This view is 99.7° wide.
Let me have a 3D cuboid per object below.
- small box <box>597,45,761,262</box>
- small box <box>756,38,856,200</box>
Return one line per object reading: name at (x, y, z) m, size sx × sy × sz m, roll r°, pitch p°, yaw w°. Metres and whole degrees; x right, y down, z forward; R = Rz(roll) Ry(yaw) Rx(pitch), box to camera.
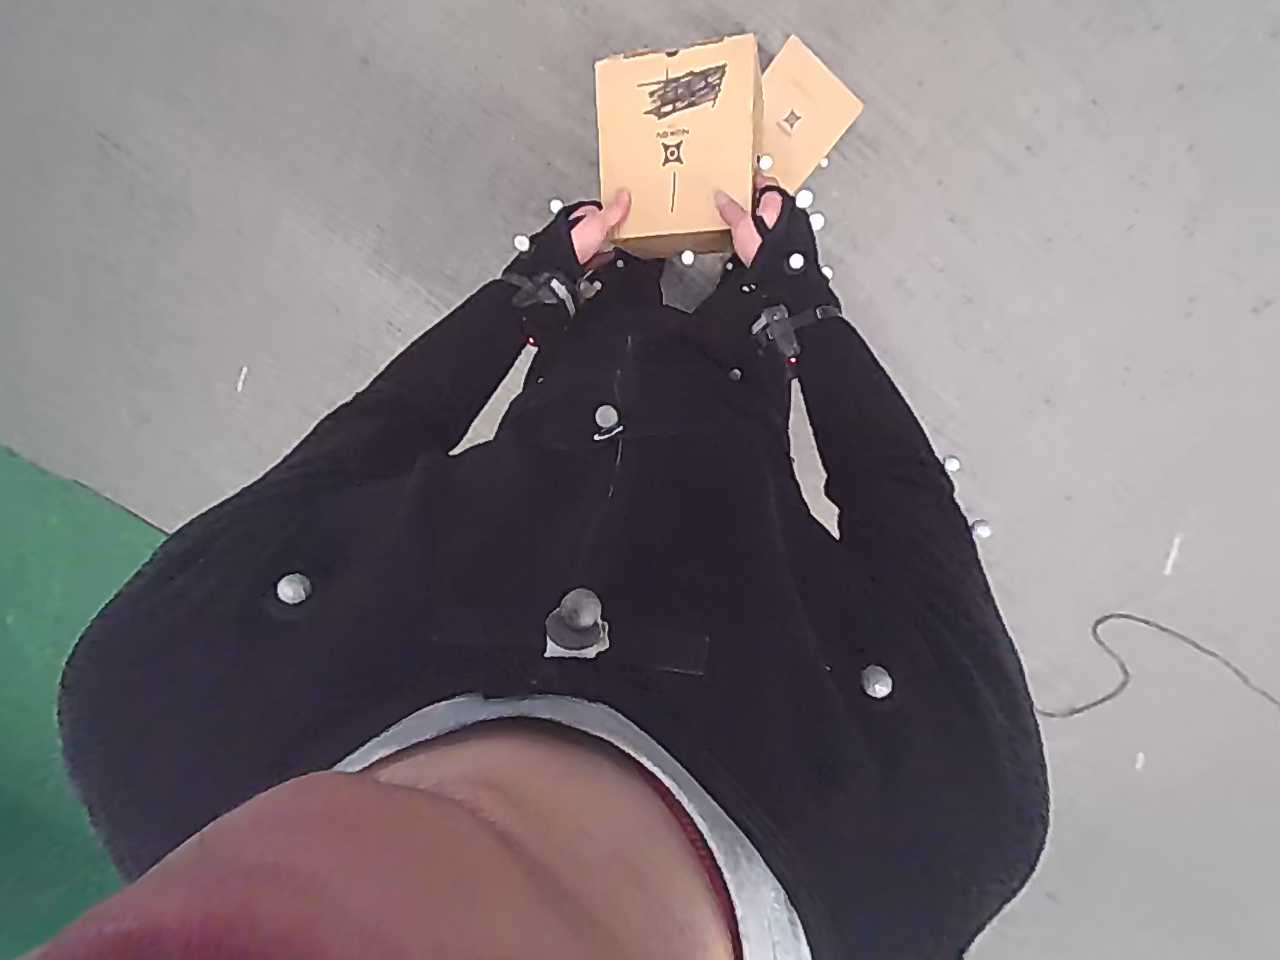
small box at (0.055, -0.368, 0.647) m, size 0.168 × 0.176 × 0.179 m, roll 1°, pitch 106°, yaw 15°
small box at (0.260, -0.645, 0.991) m, size 0.168 × 0.176 × 0.179 m, roll 36°, pitch 118°, yaw -12°
